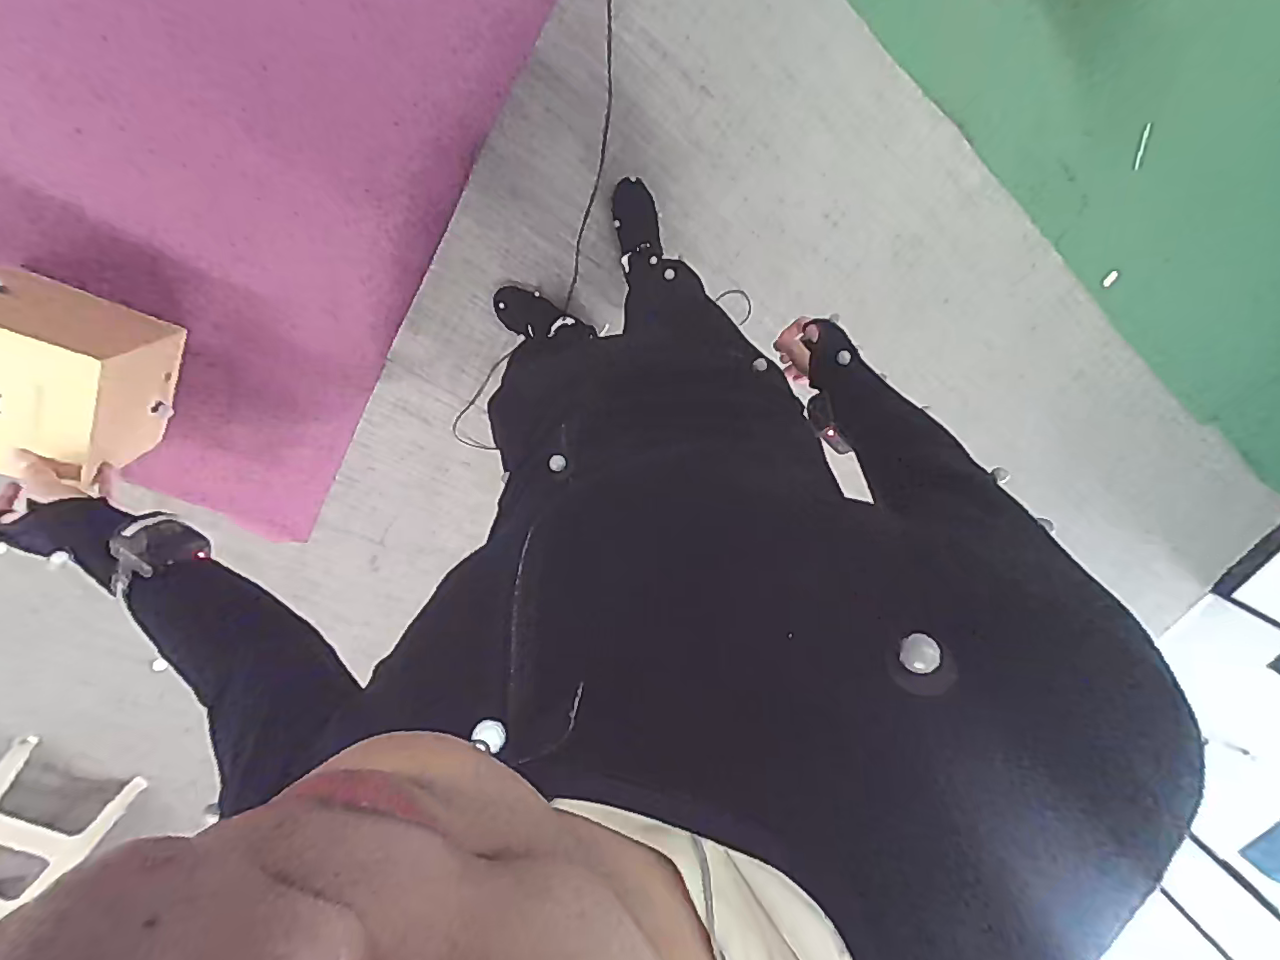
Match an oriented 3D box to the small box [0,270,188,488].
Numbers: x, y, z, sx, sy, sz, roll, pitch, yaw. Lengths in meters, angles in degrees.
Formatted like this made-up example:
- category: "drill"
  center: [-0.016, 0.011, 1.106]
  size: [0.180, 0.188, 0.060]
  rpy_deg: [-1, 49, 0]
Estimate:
- category: "small box"
  center: [-0.670, -0.121, 0.611]
  size: [0.179, 0.176, 0.168]
  rpy_deg: [21, 110, -21]
